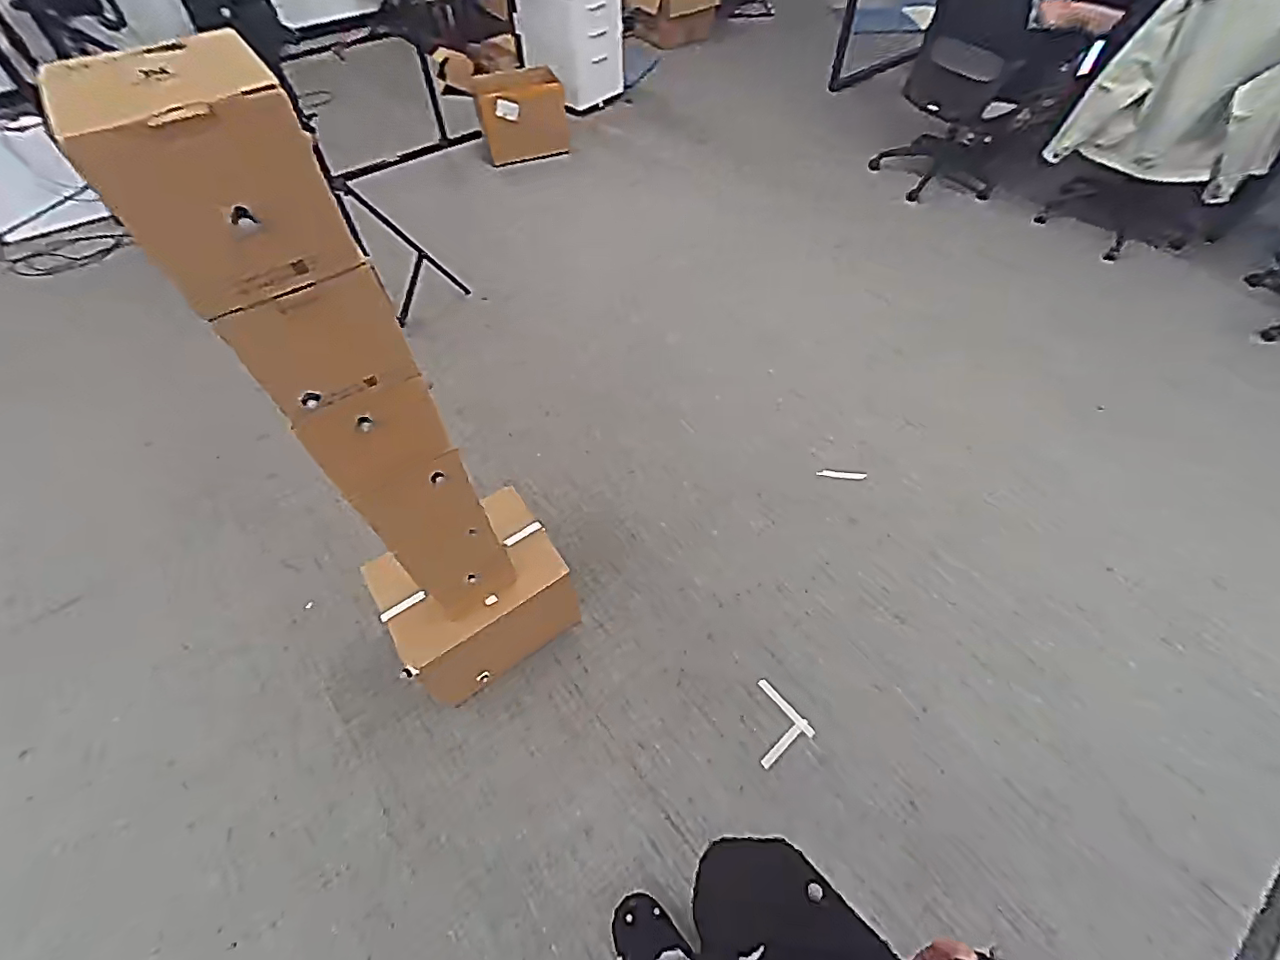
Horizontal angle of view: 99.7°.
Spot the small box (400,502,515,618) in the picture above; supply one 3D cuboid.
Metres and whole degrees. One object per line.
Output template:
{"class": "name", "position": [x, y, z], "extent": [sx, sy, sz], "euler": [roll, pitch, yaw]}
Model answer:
{"class": "small box", "position": [-0.402, 0.178, 1.206], "extent": [0.179, 0.176, 0.168], "euler": [-33, 62, -22]}

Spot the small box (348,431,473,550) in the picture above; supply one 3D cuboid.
{"class": "small box", "position": [-0.408, -0.012, 0.938], "extent": [0.179, 0.176, 0.168], "euler": [-30, 60, -19]}

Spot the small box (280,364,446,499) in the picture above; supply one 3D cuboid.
{"class": "small box", "position": [-0.410, -0.105, 0.806], "extent": [0.179, 0.176, 0.168], "euler": [-30, 61, -19]}

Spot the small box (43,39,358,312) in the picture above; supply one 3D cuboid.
{"class": "small box", "position": [-0.415, -0.292, 0.536], "extent": [0.168, 0.176, 0.179], "euler": [-31, 62, -19]}

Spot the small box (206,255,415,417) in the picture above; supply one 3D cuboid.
{"class": "small box", "position": [-0.409, -0.202, 0.673], "extent": [0.168, 0.176, 0.179], "euler": [-30, 60, -19]}
